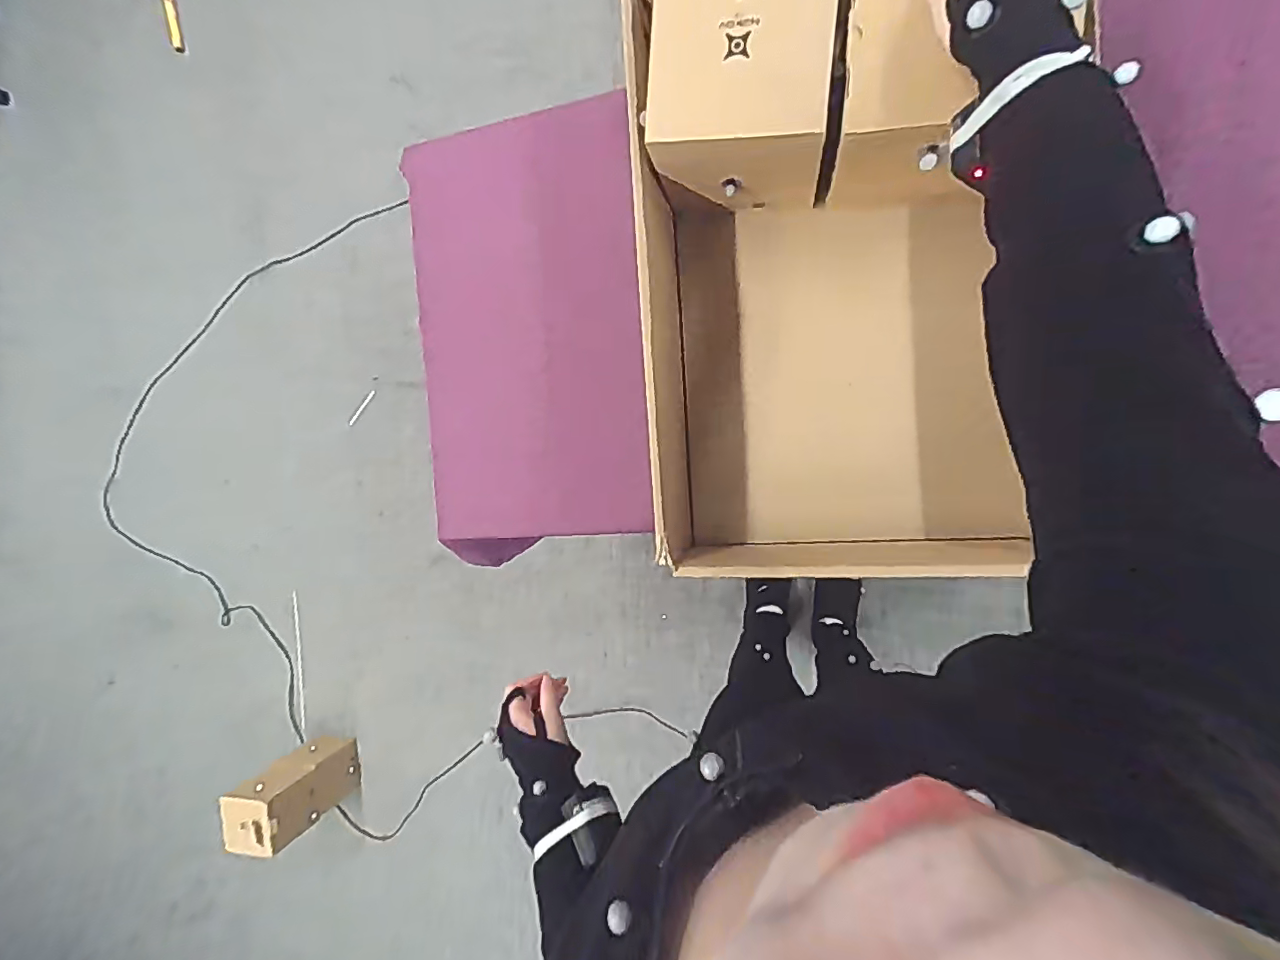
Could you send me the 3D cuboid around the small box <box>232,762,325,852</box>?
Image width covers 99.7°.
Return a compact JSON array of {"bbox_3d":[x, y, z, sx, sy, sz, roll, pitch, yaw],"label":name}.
[{"bbox_3d":[-1.083,0.982,1.637,0.179,0.176,0.168,-4,92,17],"label":"small box"}]
